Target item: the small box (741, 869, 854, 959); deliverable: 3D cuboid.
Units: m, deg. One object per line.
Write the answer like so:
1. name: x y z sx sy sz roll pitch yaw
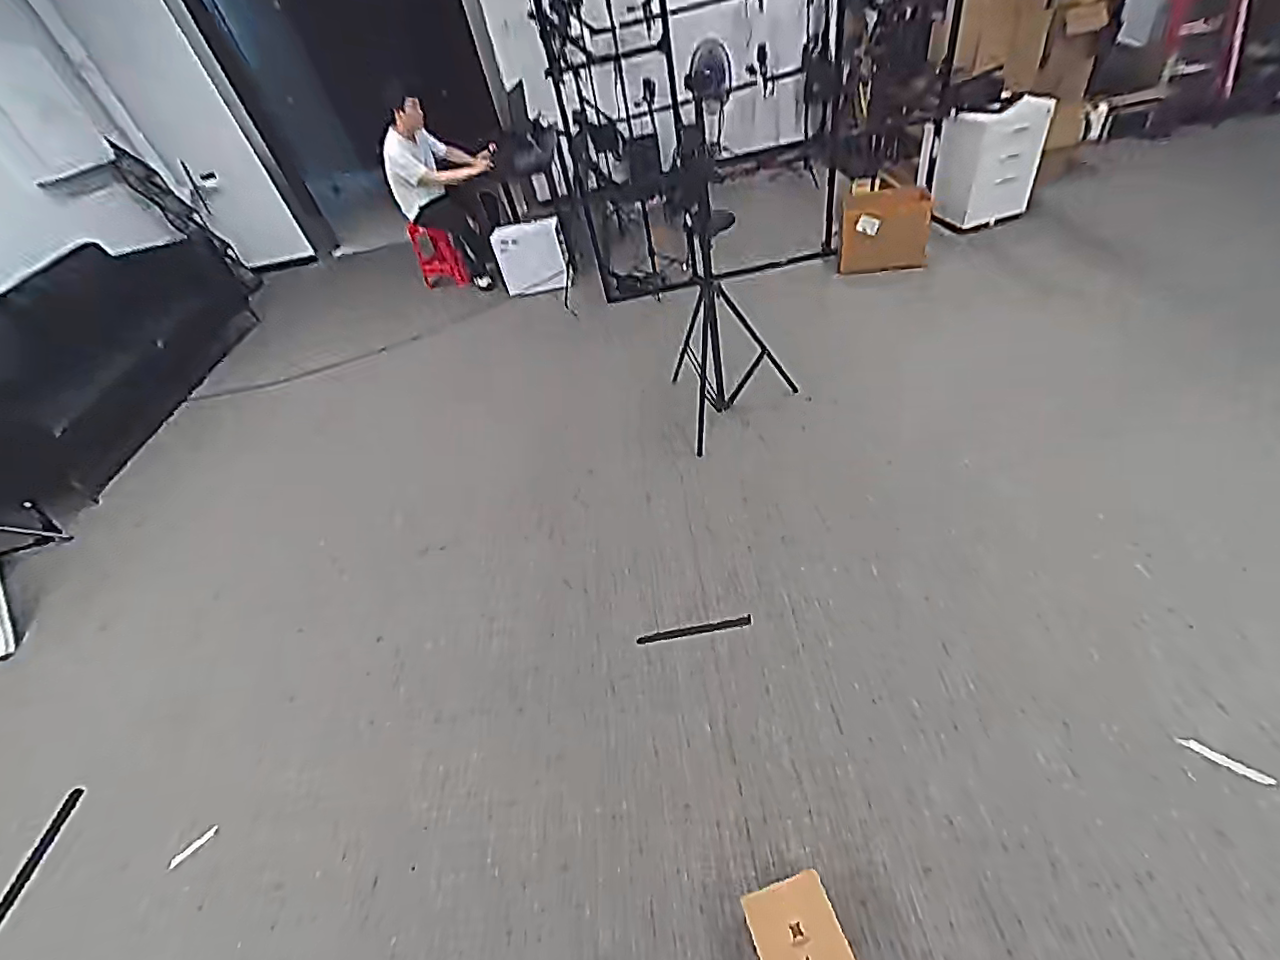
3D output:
1. small box: 0.311 0.916 1.067 0.168 0.176 0.179 -19 43 -4
